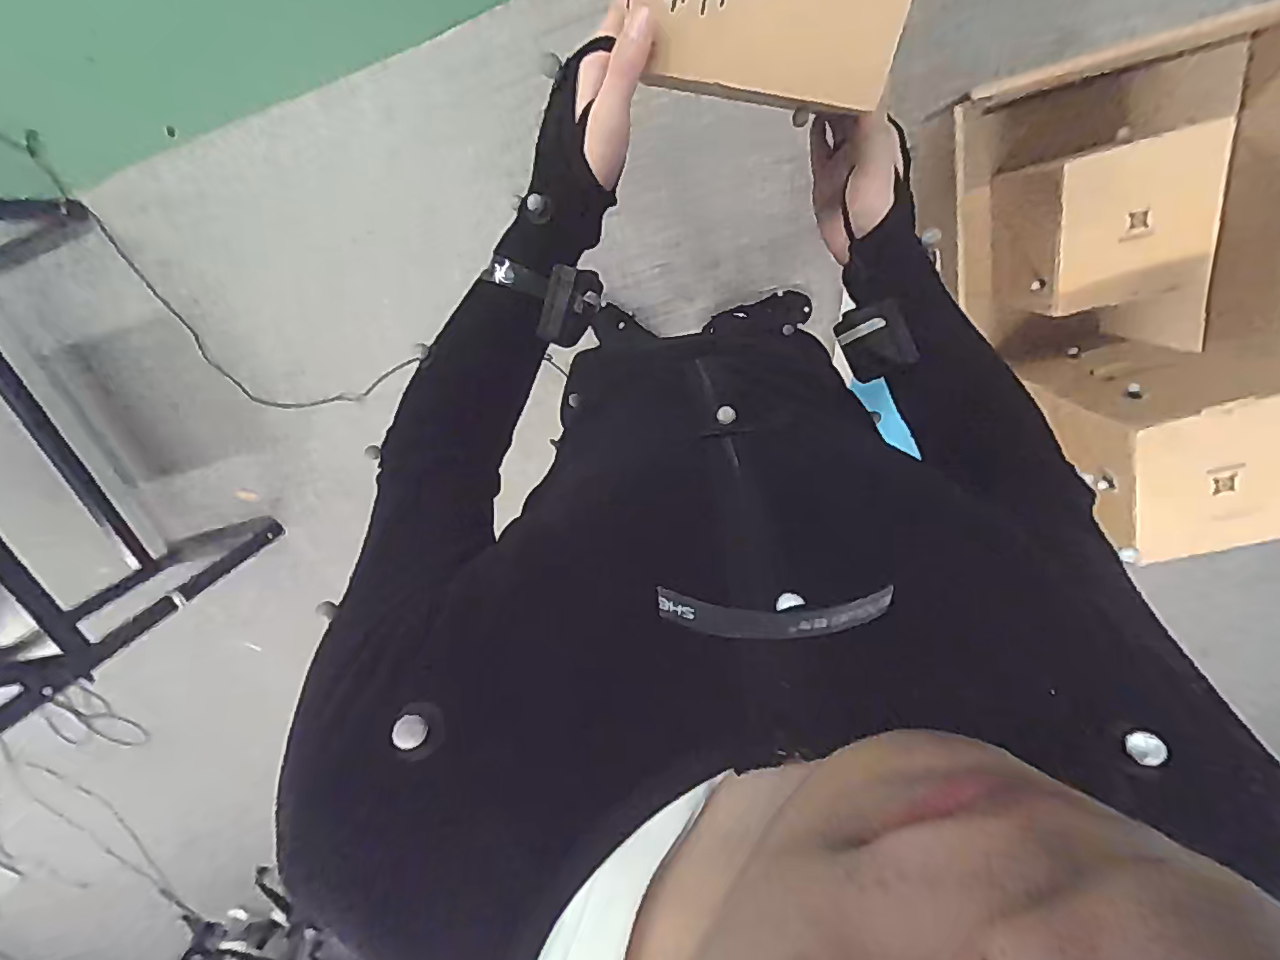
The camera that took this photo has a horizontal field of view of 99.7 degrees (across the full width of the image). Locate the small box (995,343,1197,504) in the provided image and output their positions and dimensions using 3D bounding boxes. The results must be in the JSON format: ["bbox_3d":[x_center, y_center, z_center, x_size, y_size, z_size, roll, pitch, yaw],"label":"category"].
[{"bbox_3d":[0.643,-0.091,0.784,0.168,0.176,0.179,-14,111,13],"label":"small box"}]

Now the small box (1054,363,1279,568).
[{"bbox_3d":[0.623,-0.027,0.635,0.168,0.176,0.179,-15,111,14],"label":"small box"}]
